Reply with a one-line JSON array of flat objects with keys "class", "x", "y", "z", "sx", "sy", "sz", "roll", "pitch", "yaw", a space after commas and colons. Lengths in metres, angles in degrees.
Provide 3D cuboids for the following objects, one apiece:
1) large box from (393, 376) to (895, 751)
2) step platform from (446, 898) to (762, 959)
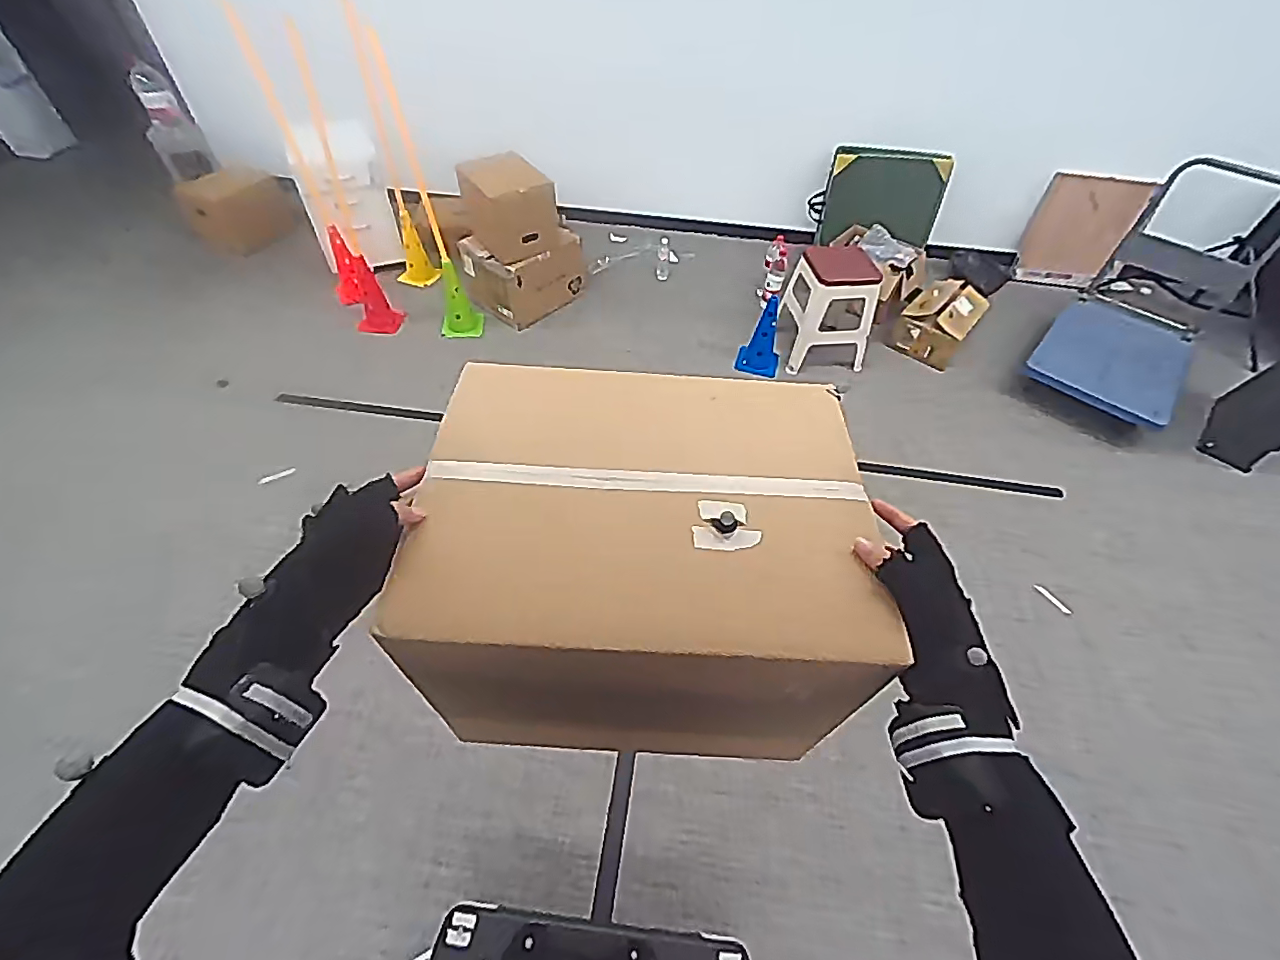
[{"class": "large box", "x": -0.001, "y": 0.106, "z": 0.627, "sx": 0.408, "sy": 0.320, "sz": 0.320, "roll": 4, "pitch": 51, "yaw": -1}, {"class": "step platform", "x": -0.078, "y": 1.097, "z": 1.132, "sx": 0.684, "sy": 0.204, "sz": 0.286, "roll": 7, "pitch": 50, "yaw": 1}]
